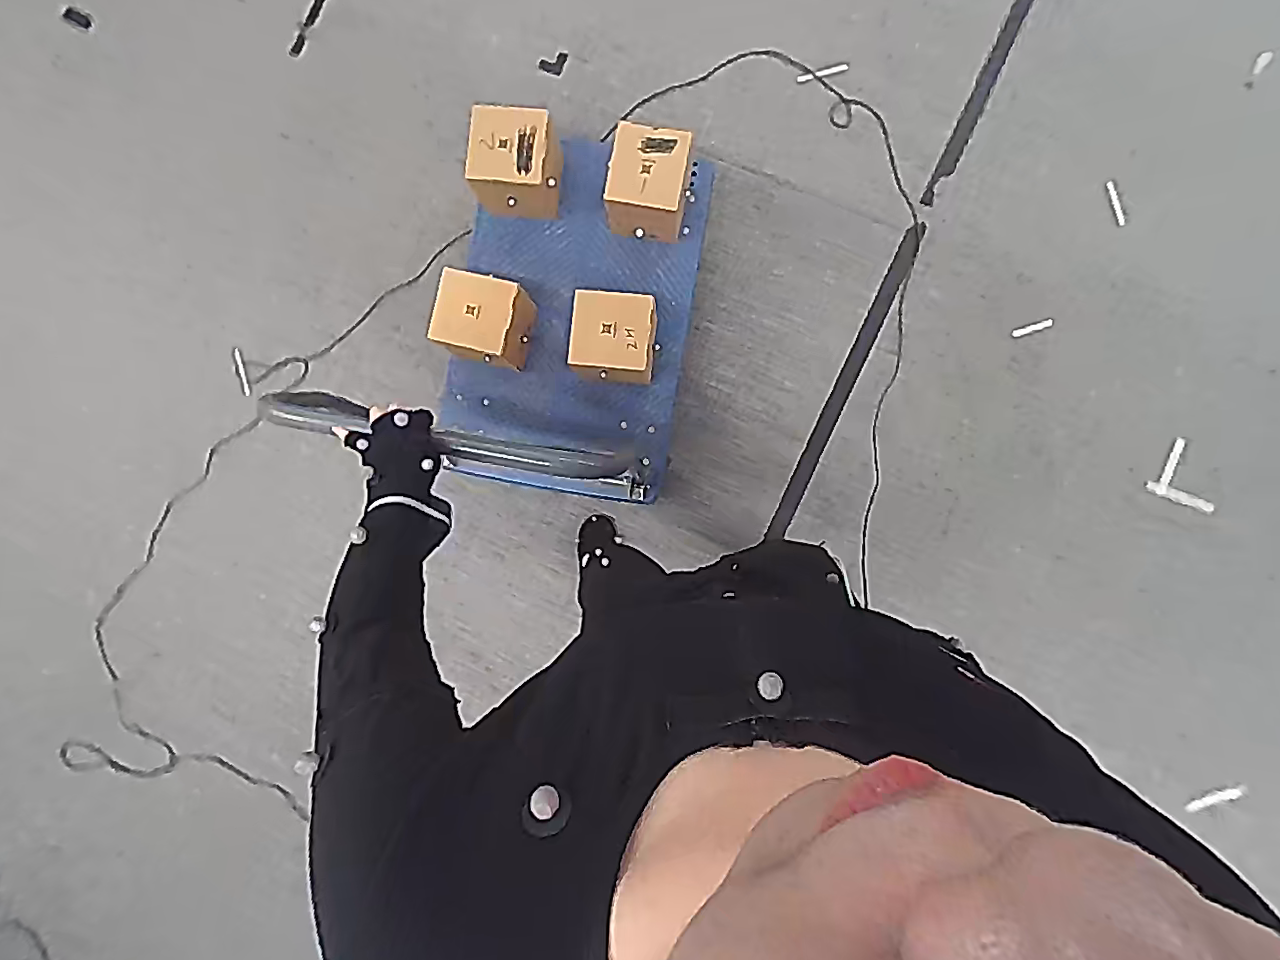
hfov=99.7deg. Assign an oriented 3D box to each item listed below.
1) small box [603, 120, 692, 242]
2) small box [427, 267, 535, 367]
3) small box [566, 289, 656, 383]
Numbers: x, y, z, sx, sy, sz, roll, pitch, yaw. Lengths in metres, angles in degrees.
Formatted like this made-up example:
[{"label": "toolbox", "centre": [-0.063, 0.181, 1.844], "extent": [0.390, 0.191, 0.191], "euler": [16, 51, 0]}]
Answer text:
[{"label": "small box", "centre": [0.020, -0.681, 1.247], "extent": [0.168, 0.176, 0.179], "euler": [12, 91, 4]}, {"label": "small box", "centre": [-0.366, -0.374, 1.270], "extent": [0.179, 0.176, 0.168], "euler": [13, 90, 3]}, {"label": "small box", "centre": [-0.061, -0.326, 1.249], "extent": [0.179, 0.176, 0.168], "euler": [6, 90, 4]}]
